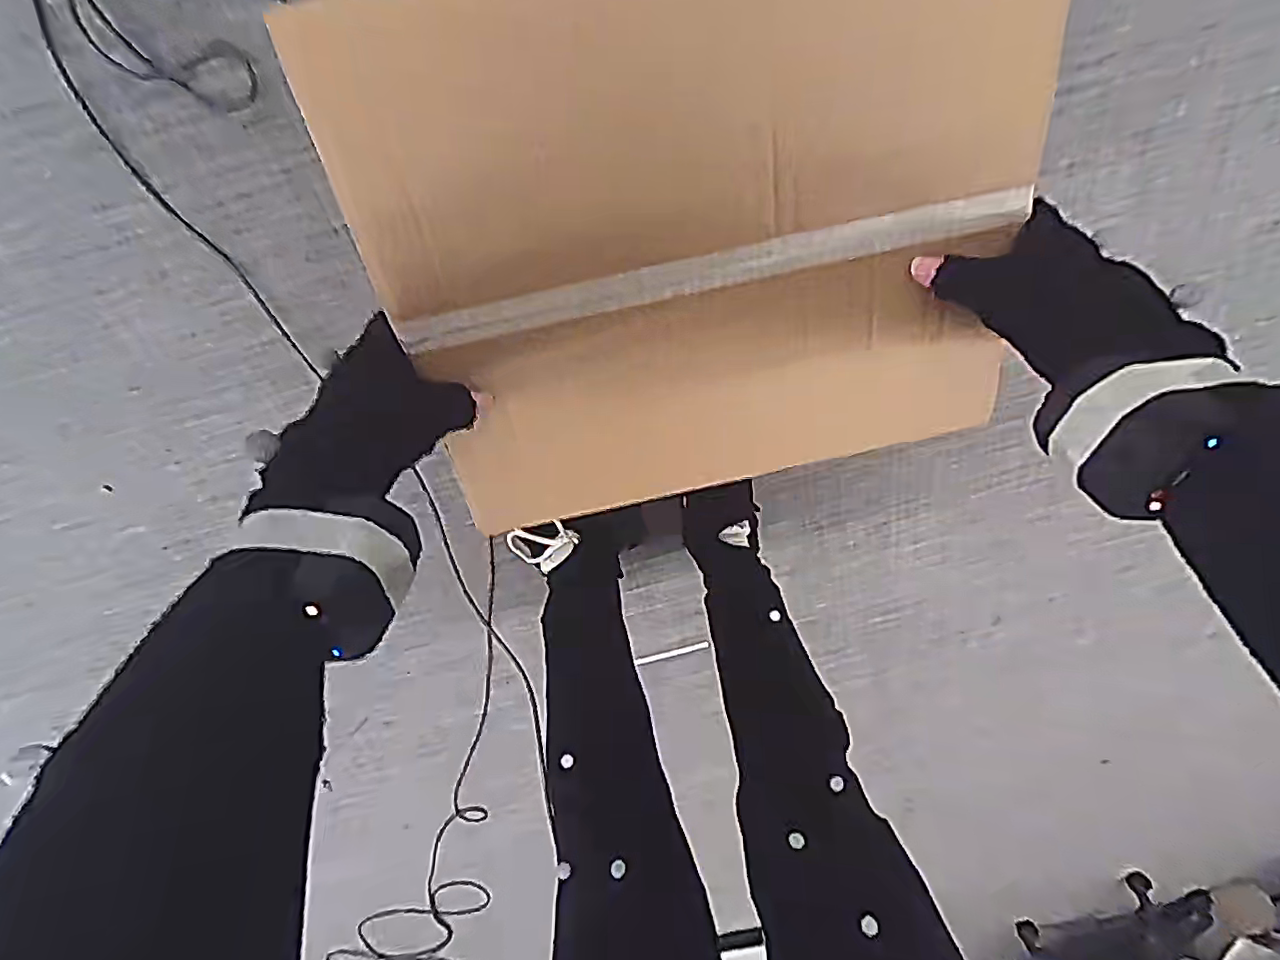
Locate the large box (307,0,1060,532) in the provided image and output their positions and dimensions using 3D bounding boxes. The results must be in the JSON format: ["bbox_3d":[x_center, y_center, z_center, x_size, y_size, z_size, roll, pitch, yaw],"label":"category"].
[{"bbox_3d":[0.032,-0.203,0.472,0.408,0.320,0.320,-12,123,-2],"label":"large box"}]
